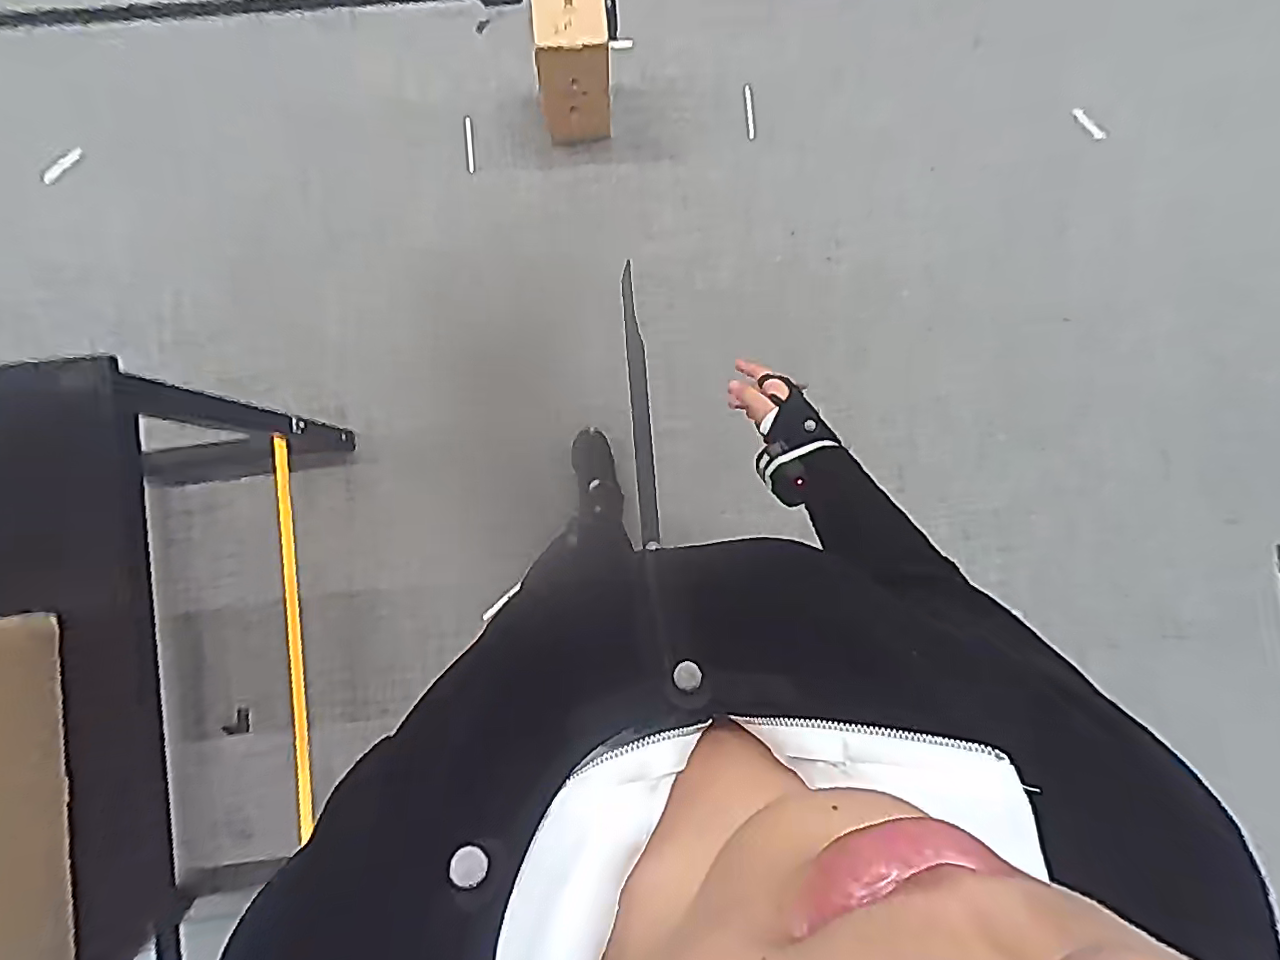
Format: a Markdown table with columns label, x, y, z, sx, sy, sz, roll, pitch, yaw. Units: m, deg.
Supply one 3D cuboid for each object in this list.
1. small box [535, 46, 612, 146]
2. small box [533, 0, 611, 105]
| label | x | y | z | sx | sy | sz | roll | pitch | yaw |
| --- | --- | --- | --- | --- | --- | --- | --- | --- | --- |
| small box | -0.172 | -1.026 | 1.445 | 0.179 | 0.176 | 0.168 | -9 | 88 | -4 |
| small box | -0.159 | -1.034 | 1.281 | 0.168 | 0.176 | 0.179 | -6 | 88 | -3 |
